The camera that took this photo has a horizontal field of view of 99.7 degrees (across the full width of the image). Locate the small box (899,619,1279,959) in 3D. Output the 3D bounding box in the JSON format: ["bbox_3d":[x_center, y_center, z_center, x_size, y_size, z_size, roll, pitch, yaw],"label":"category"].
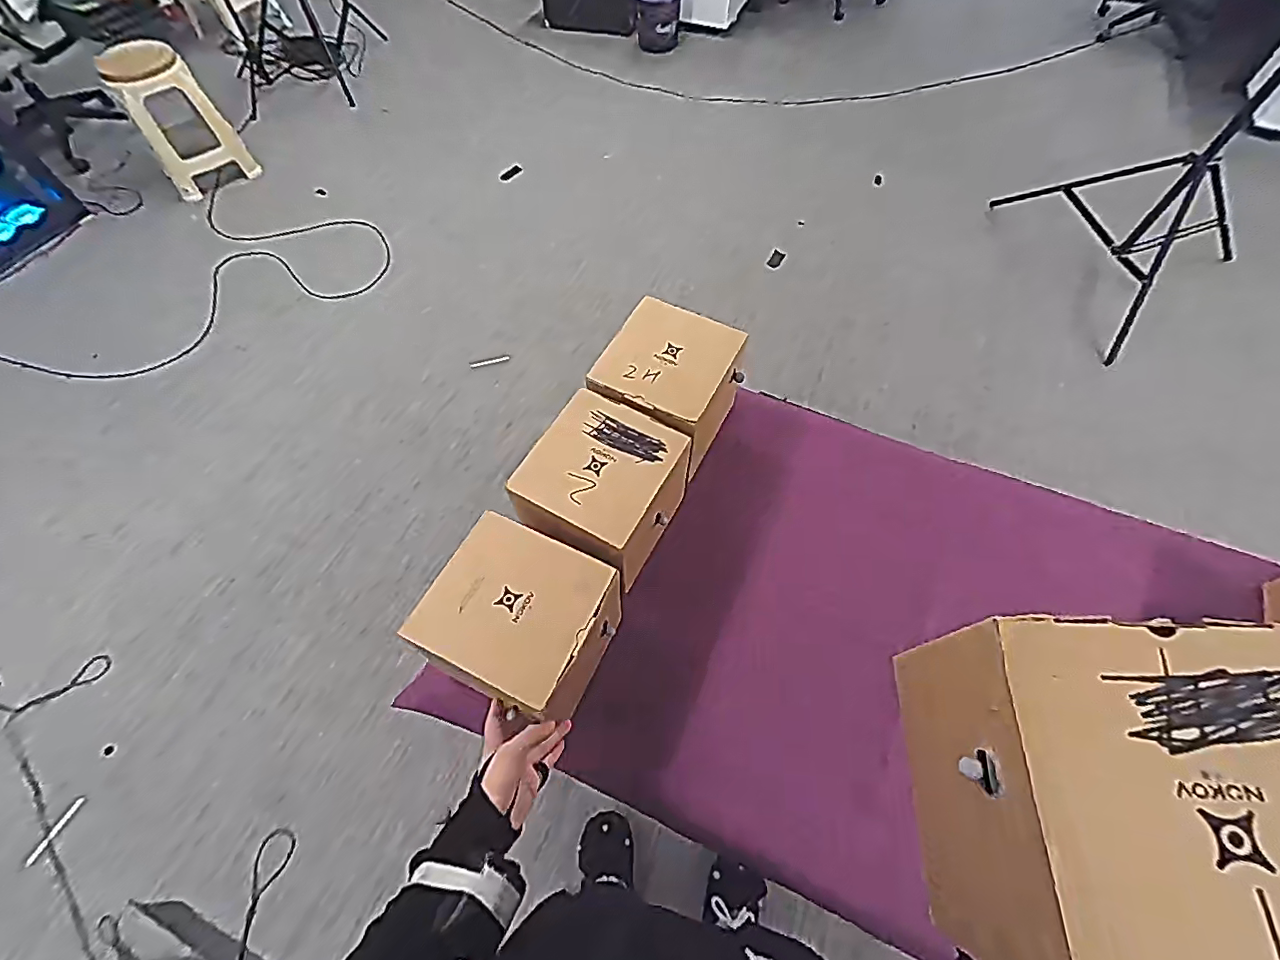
[{"bbox_3d":[0.274,0.189,0.321,0.168,0.176,0.179,0,65,6],"label":"small box"}]

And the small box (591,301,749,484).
[{"bbox_3d":[0.043,-0.127,0.811,0.168,0.176,0.179,25,64,14],"label":"small box"}]
